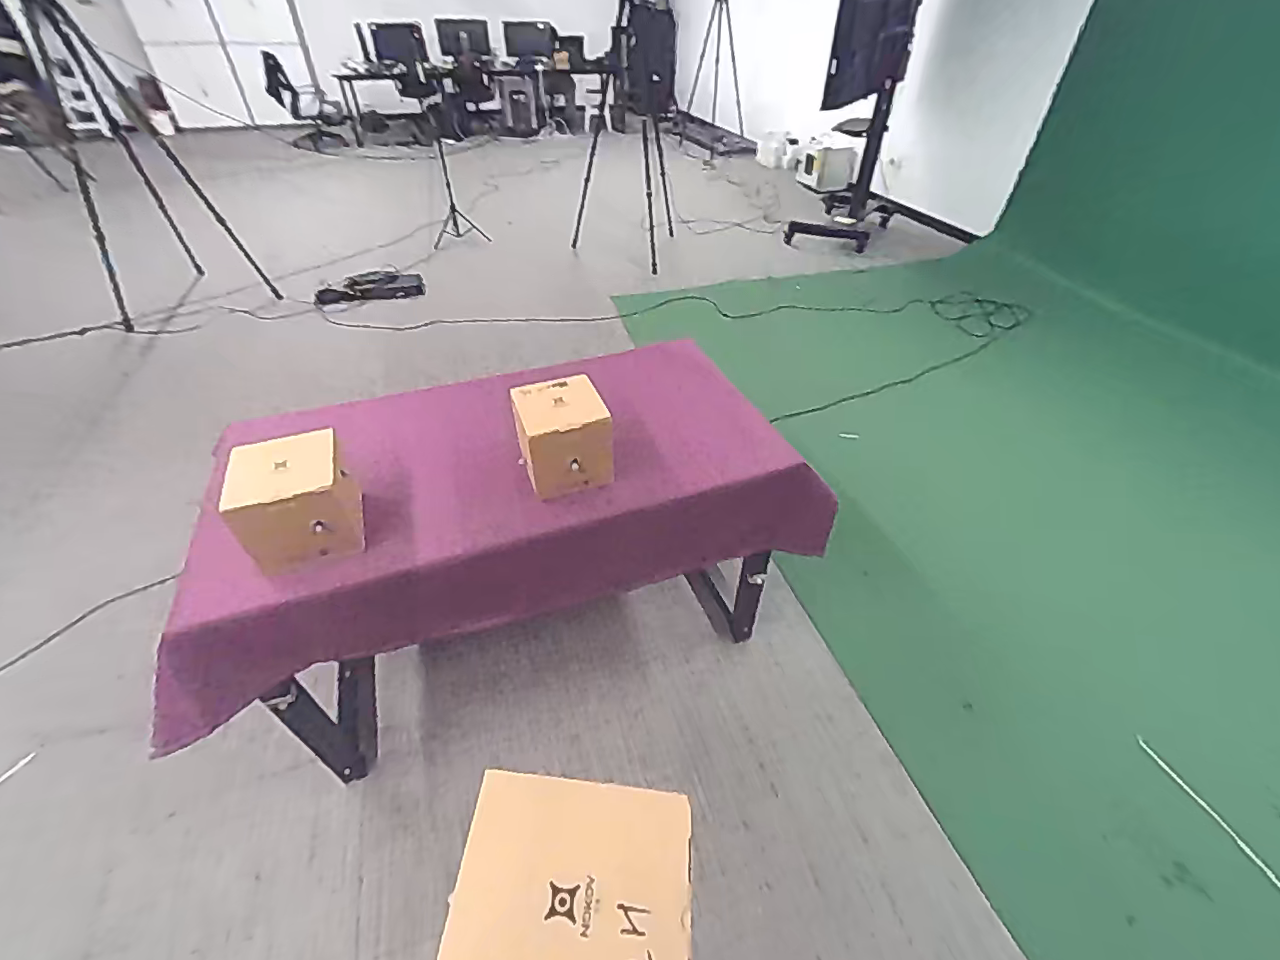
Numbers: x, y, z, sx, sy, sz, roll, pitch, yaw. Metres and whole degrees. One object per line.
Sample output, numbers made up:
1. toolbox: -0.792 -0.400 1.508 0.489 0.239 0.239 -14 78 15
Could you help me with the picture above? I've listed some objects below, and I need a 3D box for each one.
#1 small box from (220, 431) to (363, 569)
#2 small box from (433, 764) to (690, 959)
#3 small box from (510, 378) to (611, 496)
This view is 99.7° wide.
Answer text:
1. small box: -0.613 0.040 0.974 0.168 0.176 0.179 -14 43 -18
2. small box: -0.061 0.362 0.452 0.179 0.176 0.168 10 45 -3
3. small box: -0.162 -0.084 1.121 0.168 0.176 0.179 -14 44 -16
